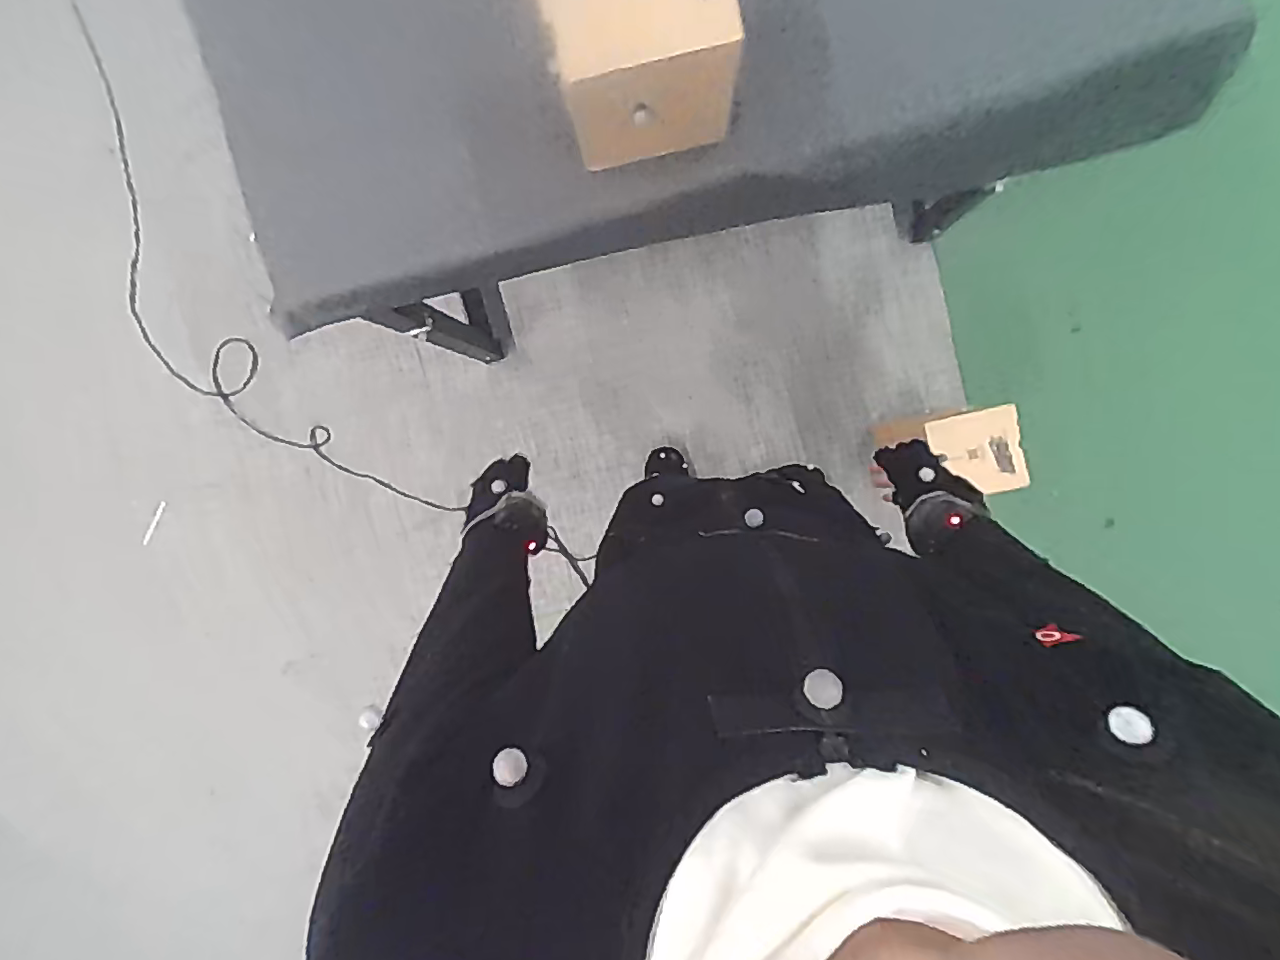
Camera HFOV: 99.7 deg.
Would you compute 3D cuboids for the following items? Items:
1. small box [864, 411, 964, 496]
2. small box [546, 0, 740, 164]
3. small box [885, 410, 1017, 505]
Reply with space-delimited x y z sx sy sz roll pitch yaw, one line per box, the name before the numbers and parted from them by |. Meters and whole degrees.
small box | 0.671 -0.066 1.311 0.179 0.176 0.168 -14 92 6
small box | 0.001 -0.475 0.583 0.179 0.176 0.168 -10 93 4
small box | 0.651 -0.049 1.148 0.179 0.176 0.168 -11 92 5
